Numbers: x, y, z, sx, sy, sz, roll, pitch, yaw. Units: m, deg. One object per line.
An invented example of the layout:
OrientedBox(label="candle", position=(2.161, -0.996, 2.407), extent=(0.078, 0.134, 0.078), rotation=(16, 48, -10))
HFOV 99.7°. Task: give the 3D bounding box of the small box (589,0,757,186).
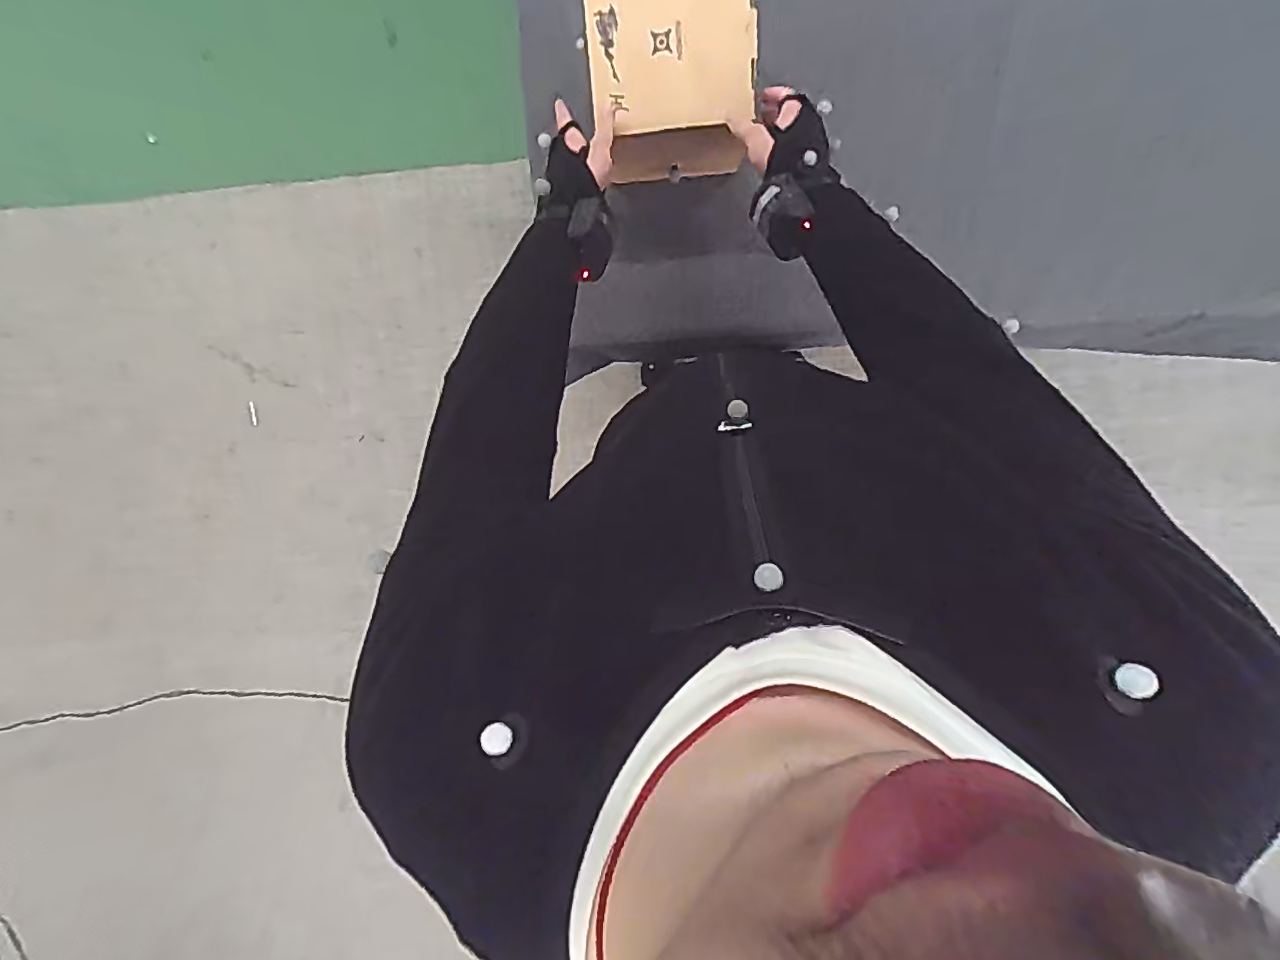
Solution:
OrientedBox(label="small box", position=(0.038, -0.472, 0.652), extent=(0.179, 0.176, 0.168), rotation=(-3, 103, 3))
